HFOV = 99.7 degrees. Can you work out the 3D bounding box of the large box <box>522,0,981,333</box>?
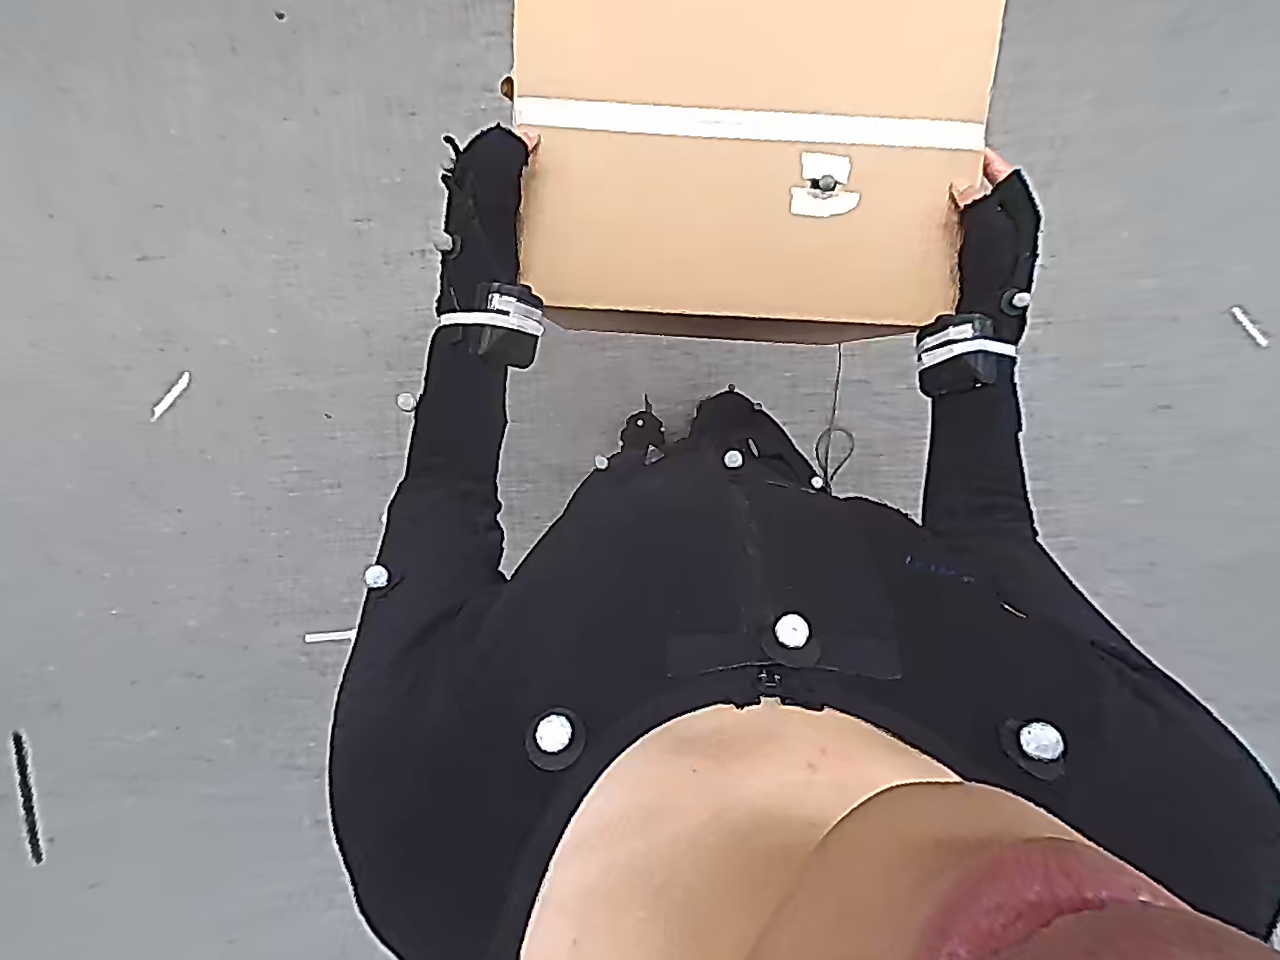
[{"bbox_3d":[0.090,-0.346,0.630,0.408,0.320,0.320,2,102,-2],"label":"large box"}]
